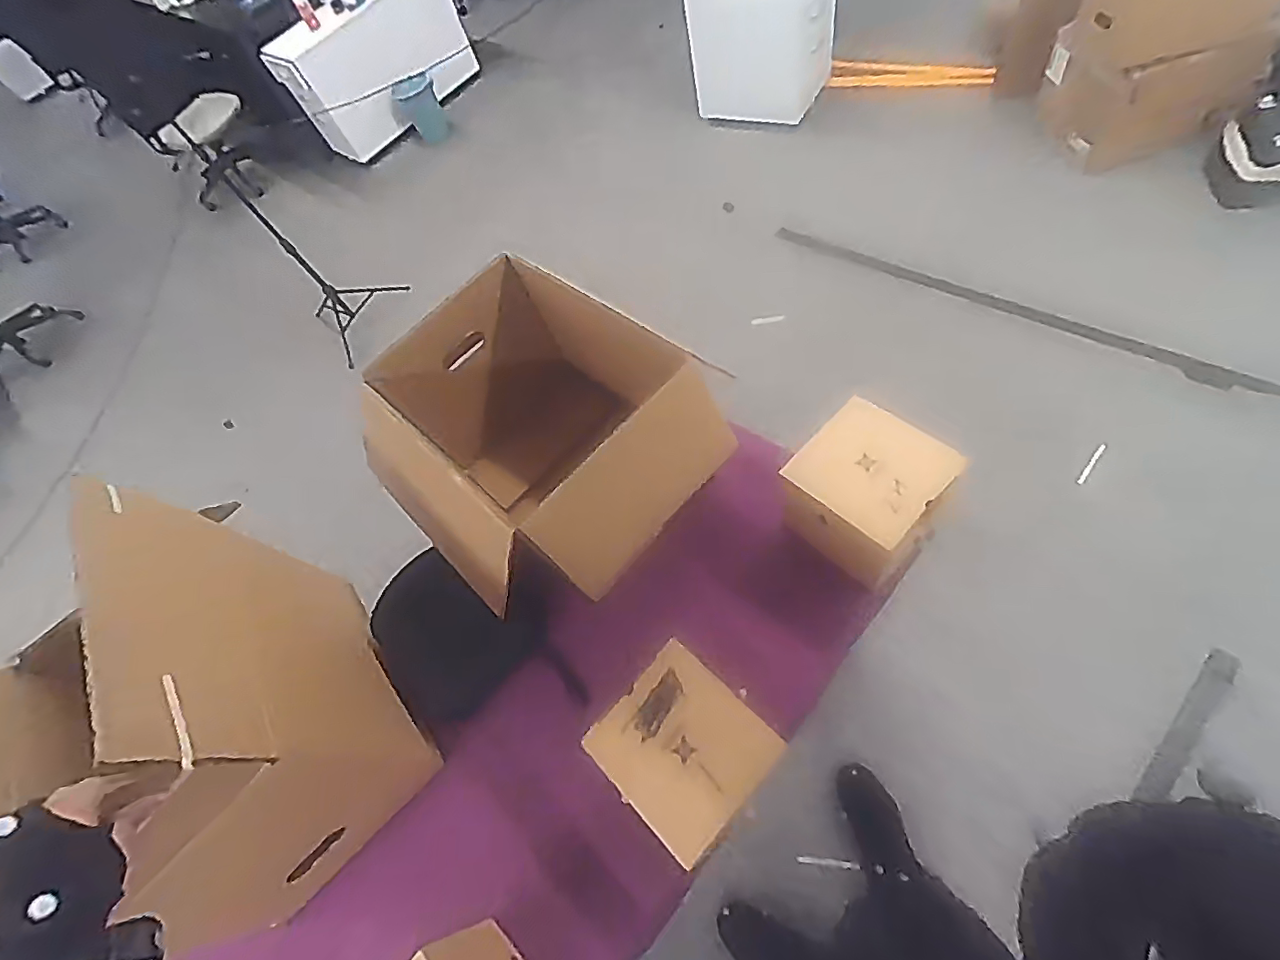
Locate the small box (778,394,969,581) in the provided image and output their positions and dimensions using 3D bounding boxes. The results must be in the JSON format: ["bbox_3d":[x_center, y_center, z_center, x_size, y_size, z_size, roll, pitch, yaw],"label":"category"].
[{"bbox_3d":[0.320,0.018,0.774,0.168,0.176,0.179,-44,59,-9],"label":"small box"}]

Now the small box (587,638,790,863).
[{"bbox_3d":[0.068,0.333,0.680,0.179,0.176,0.168,38,78,29],"label":"small box"}]
